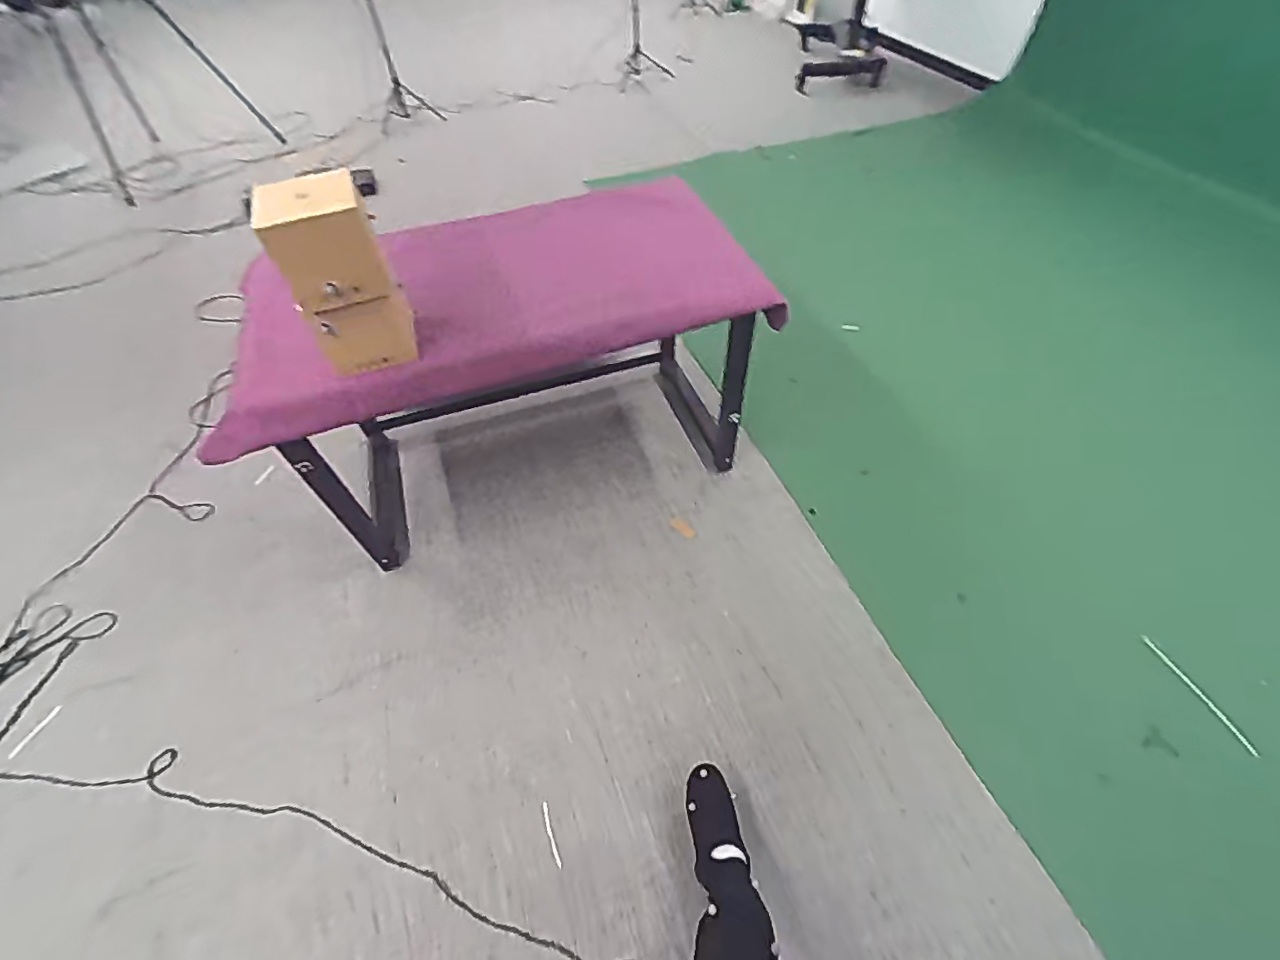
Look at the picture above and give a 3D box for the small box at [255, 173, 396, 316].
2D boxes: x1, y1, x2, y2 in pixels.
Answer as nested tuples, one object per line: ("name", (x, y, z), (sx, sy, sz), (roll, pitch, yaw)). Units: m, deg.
("small box", (-0.570, -0.432, 0.994), (0.168, 0.176, 0.179), (-20, 53, -12))
